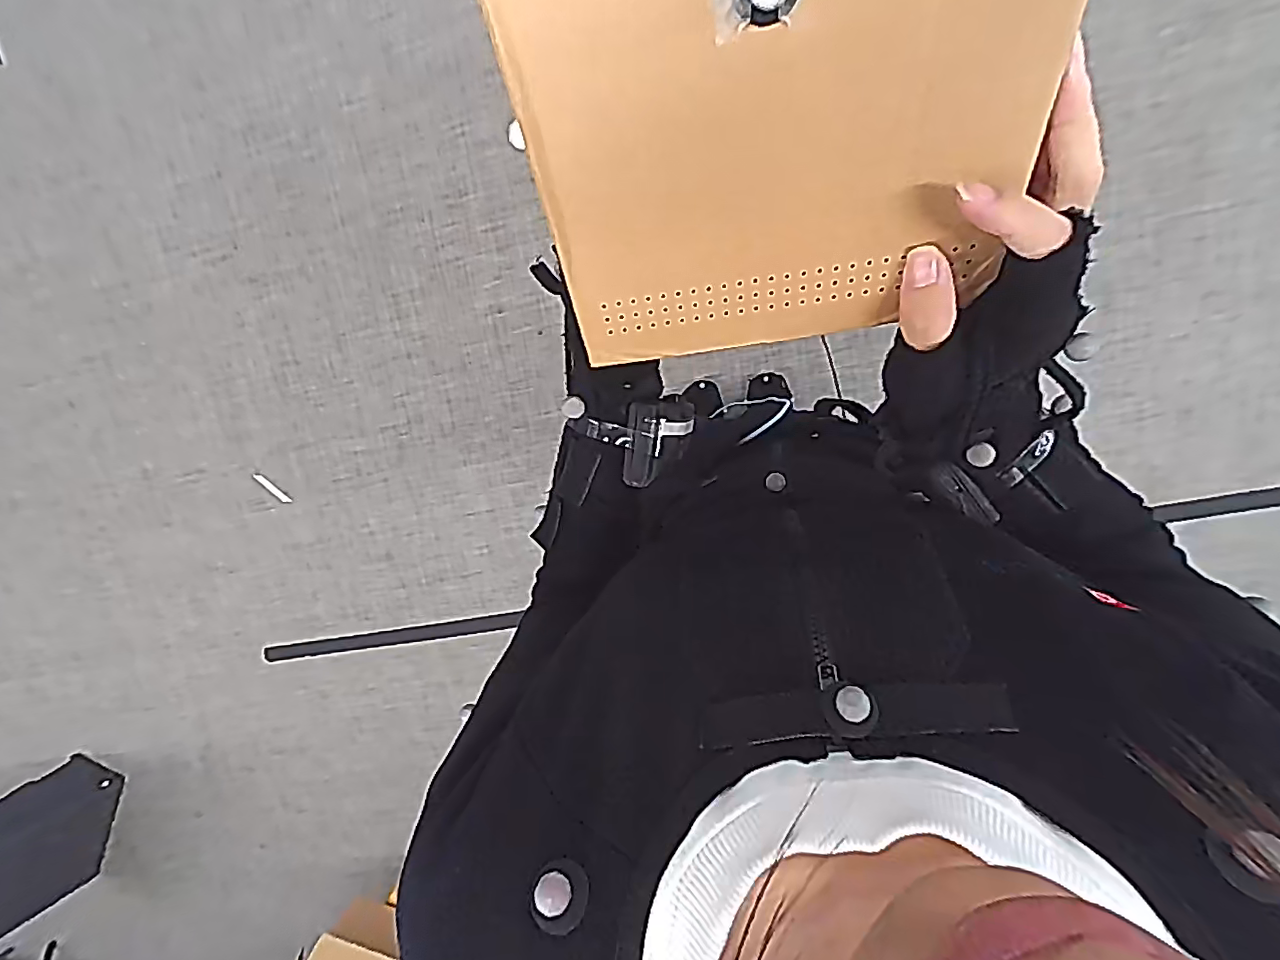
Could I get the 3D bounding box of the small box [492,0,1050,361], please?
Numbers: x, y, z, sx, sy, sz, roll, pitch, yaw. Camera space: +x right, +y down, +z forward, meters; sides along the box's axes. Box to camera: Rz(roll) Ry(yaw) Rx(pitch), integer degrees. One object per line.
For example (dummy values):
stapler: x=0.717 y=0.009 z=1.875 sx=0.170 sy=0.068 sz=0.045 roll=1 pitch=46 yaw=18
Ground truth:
small box: x=0.051 y=-0.171 z=0.242 sx=0.179 sy=0.168 sz=0.176 roll=-6 pitch=138 yaw=9
